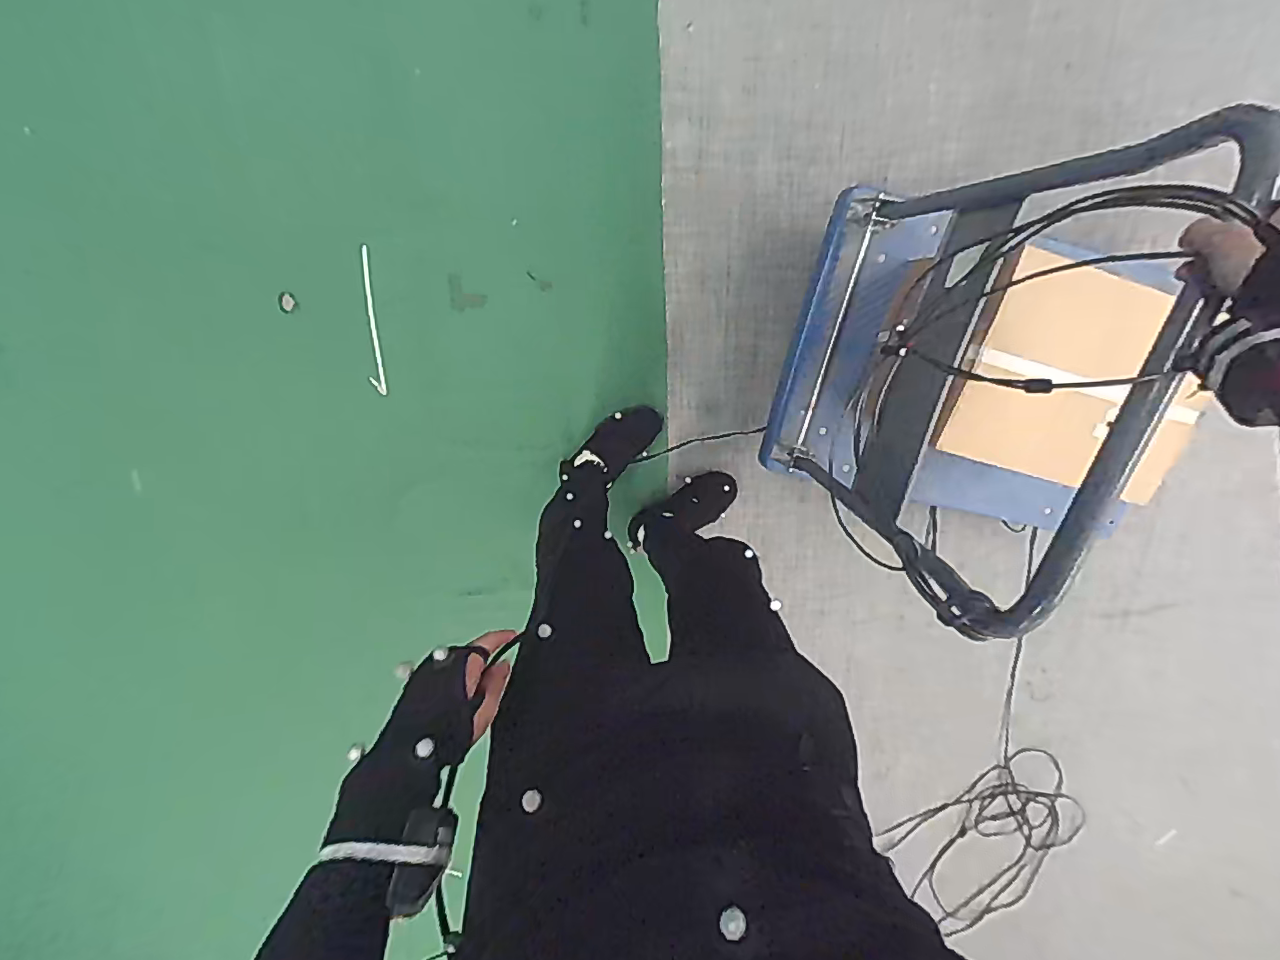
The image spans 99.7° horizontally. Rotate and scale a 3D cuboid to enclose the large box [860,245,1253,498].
[{"bbox_3d":[0.688,-0.195,0.970,0.408,0.320,0.320,13,107,-9],"label":"large box"}]
